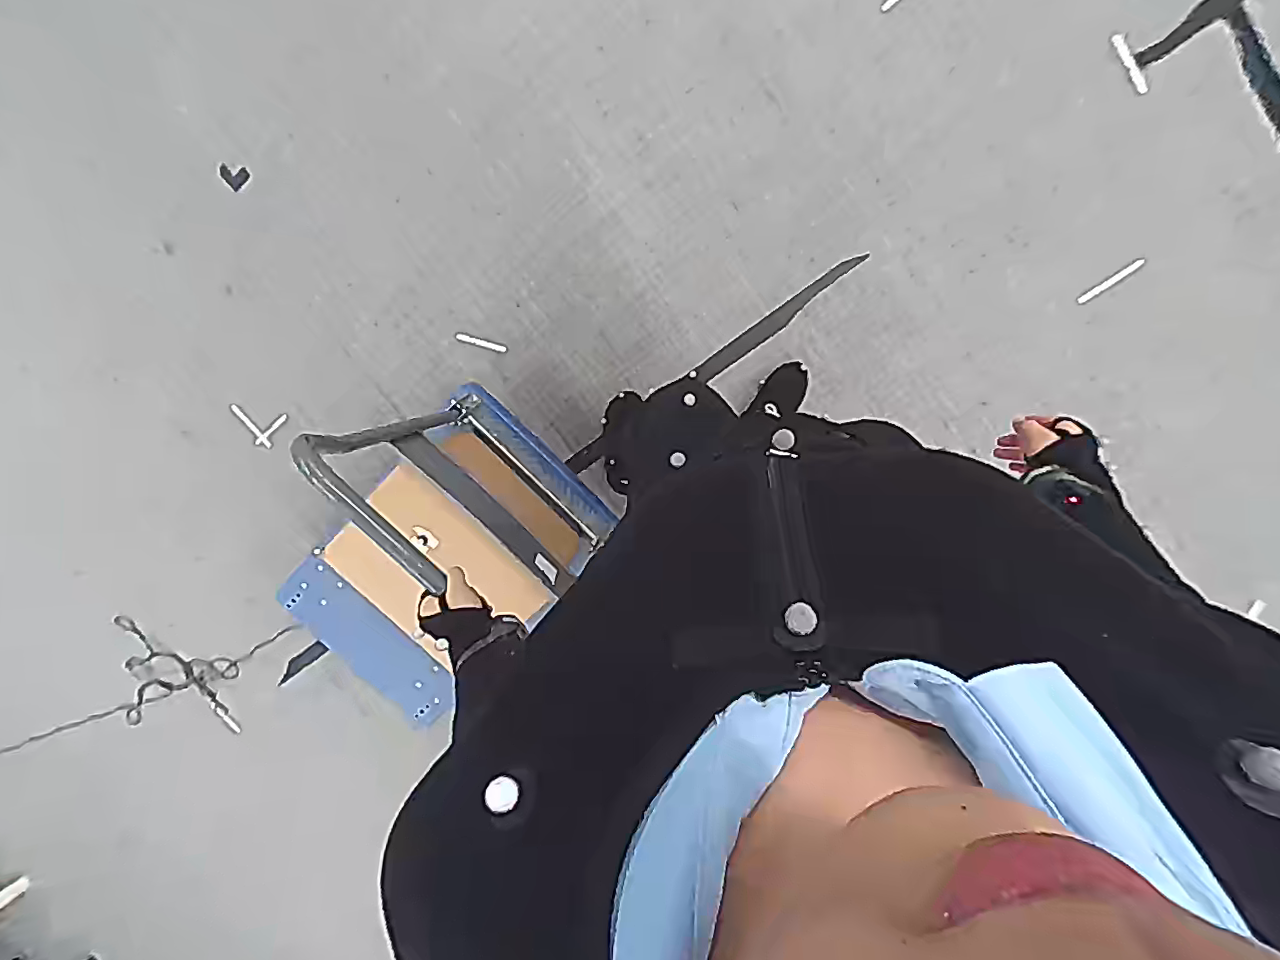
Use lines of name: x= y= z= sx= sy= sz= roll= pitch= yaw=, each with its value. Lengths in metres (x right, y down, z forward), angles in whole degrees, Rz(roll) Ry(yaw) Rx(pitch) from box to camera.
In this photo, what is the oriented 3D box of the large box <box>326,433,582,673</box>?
large box: x=-0.404 y=0.152 z=1.266 sx=0.320 sy=0.320 sz=0.408 roll=-43 pitch=97 yaw=13
